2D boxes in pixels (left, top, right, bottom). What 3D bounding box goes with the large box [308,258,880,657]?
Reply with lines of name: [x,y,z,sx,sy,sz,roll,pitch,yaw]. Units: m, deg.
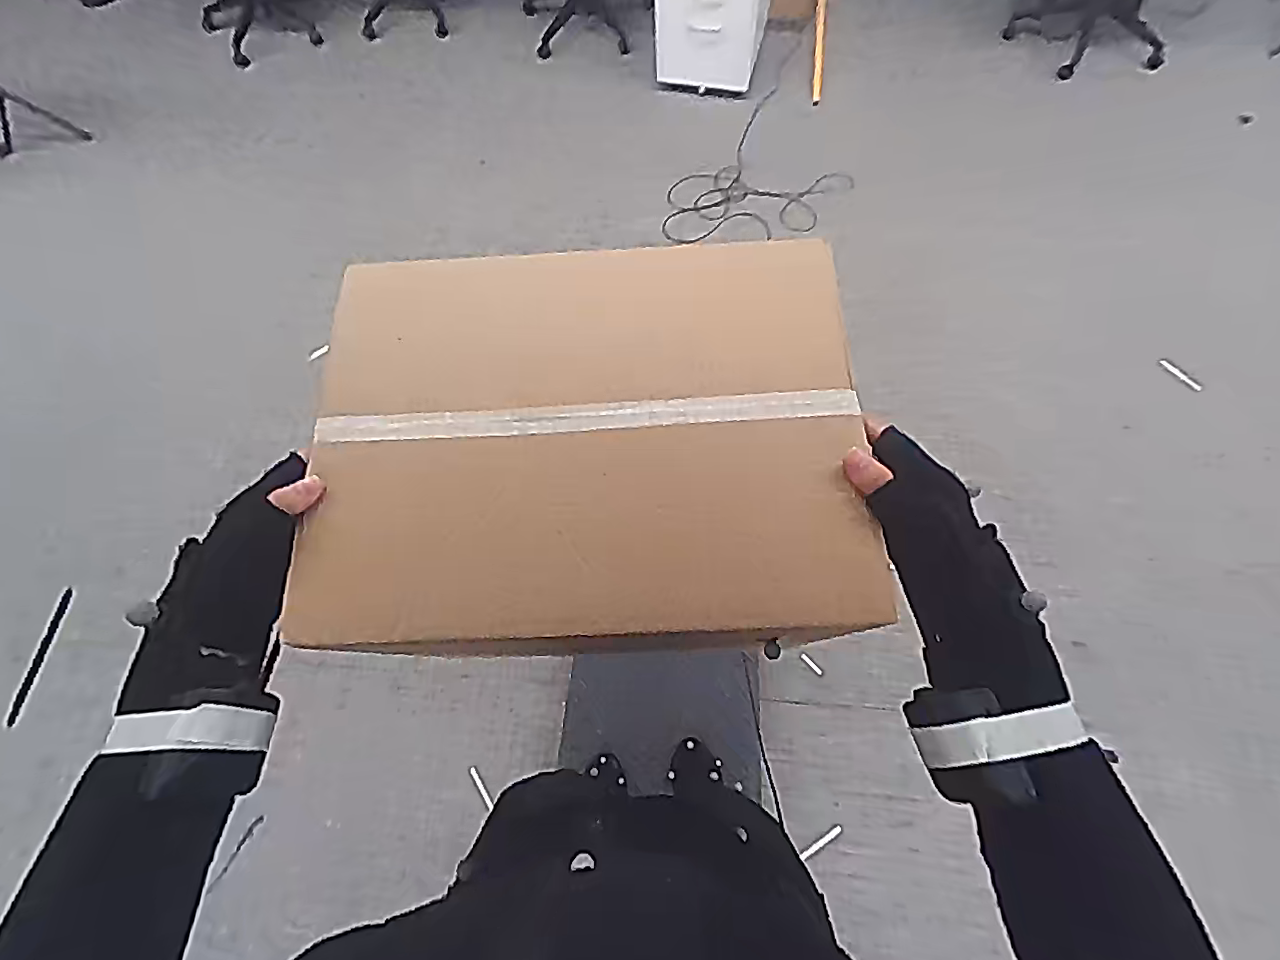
large box: [-0.031,0.013,0.557,0.408,0.320,0.320,-2,70,2]
